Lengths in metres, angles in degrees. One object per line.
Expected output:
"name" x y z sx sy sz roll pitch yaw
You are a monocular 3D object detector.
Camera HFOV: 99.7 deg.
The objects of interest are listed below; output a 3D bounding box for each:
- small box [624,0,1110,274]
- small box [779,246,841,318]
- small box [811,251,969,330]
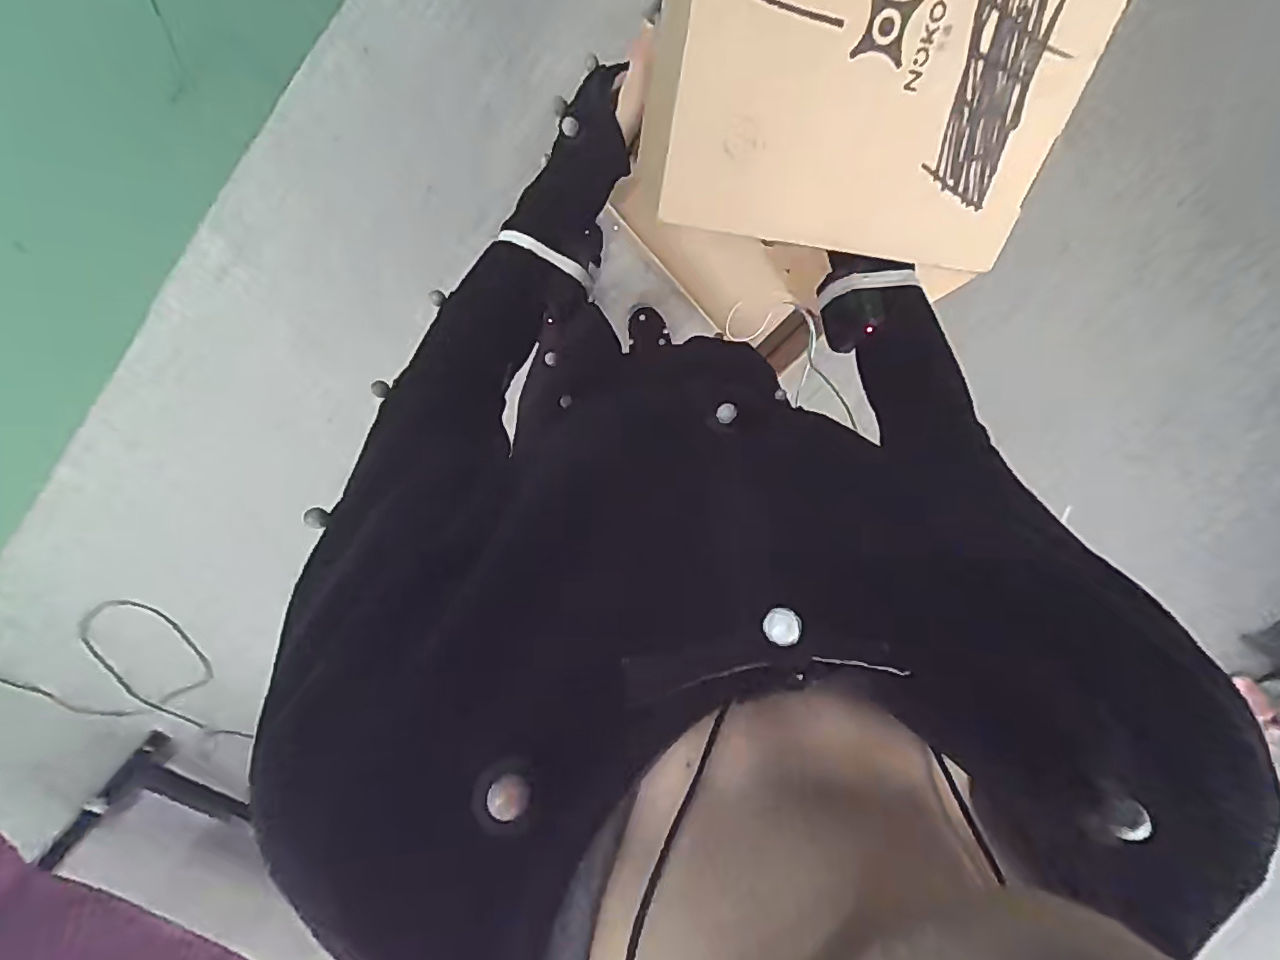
"small box" 0.090 -0.224 0.278 0.179 0.176 0.168 6 126 -8
"small box" 0.400 -0.449 1.078 0.168 0.176 0.179 -32 112 10
"small box" 0.415 -0.384 0.929 0.179 0.176 0.168 -30 114 8
